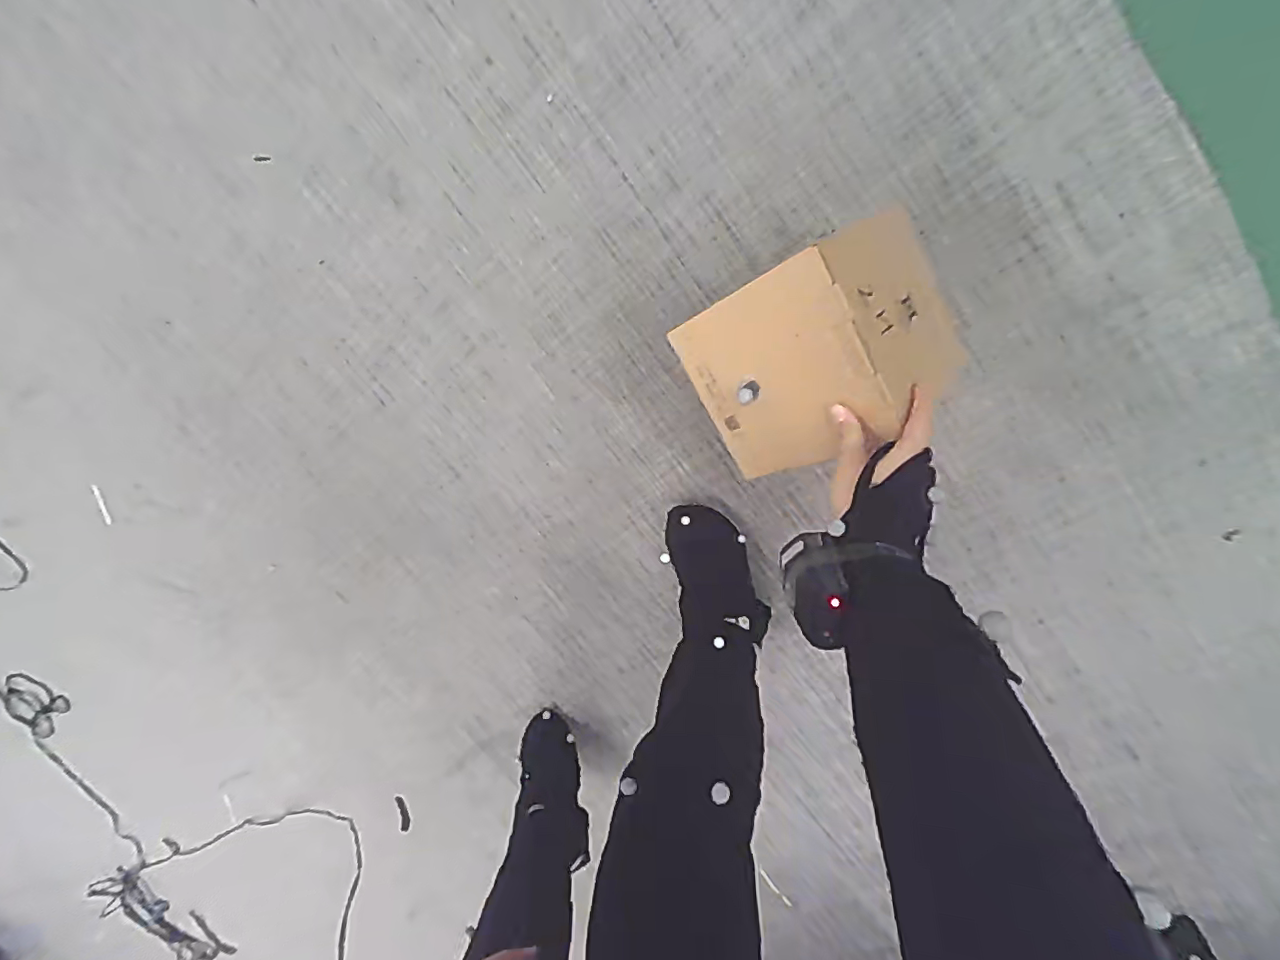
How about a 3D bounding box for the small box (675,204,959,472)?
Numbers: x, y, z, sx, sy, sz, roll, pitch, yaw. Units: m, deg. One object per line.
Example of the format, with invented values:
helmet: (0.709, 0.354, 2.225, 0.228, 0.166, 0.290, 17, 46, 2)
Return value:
small box: (0.166, -0.128, 0.519, 0.176, 0.179, 0.168, -17, 106, 53)
